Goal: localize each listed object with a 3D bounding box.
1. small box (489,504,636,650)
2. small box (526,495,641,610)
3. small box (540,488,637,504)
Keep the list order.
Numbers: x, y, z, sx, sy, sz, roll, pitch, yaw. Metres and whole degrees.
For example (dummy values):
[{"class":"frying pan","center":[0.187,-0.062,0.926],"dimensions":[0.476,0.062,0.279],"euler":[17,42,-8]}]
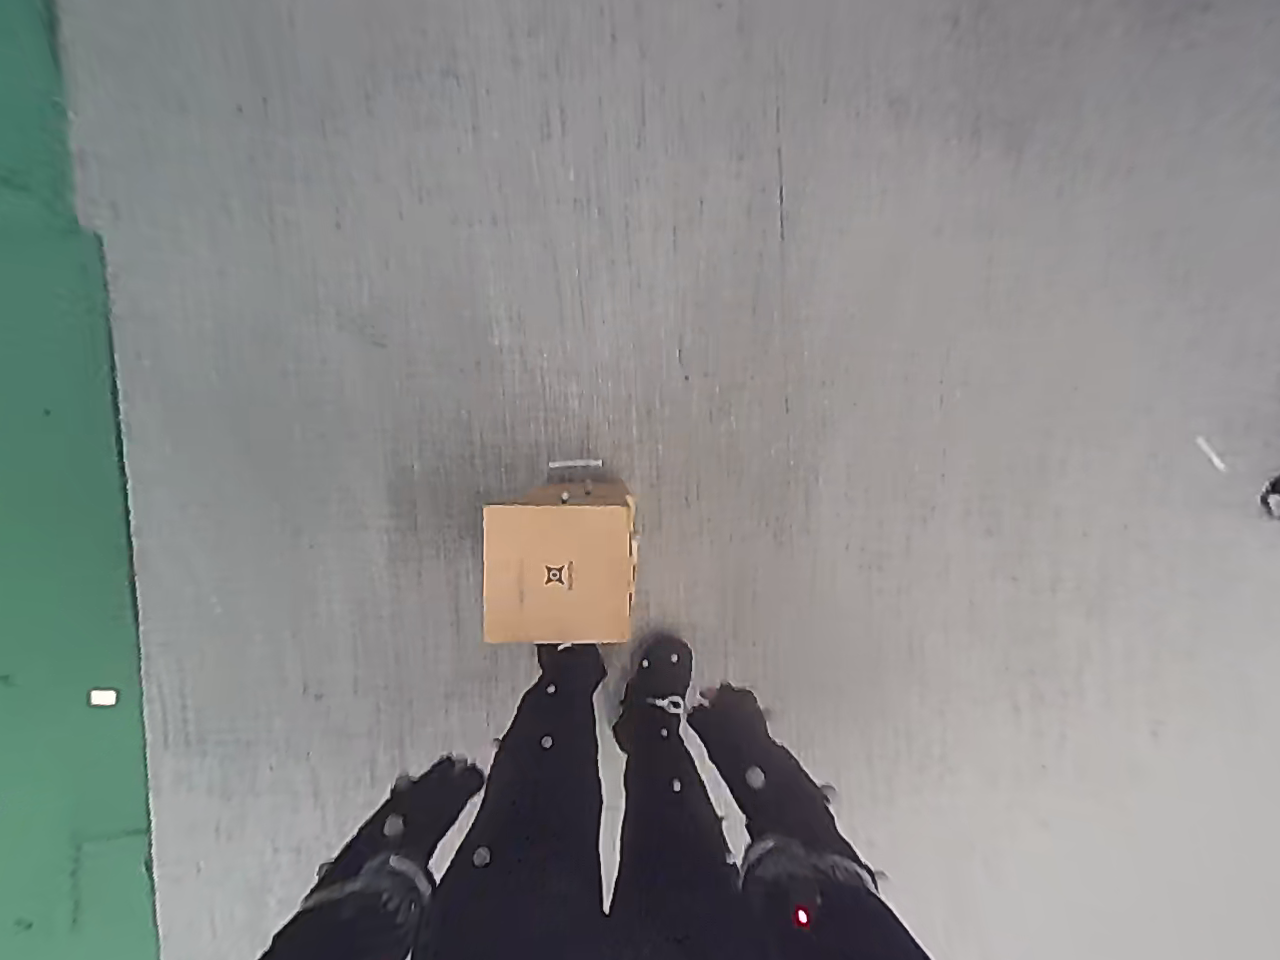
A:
[{"class":"small box","center":[-0.096,0.119,0.725],"dimensions":[0.179,0.176,0.168],"euler":[0,91,-1]},{"class":"small box","center":[-0.092,0.112,0.888],"dimensions":[0.179,0.176,0.168],"euler":[0,92,-3]},{"class":"small box","center":[-0.102,0.102,1.049],"dimensions":[0.179,0.176,0.168],"euler":[2,90,-3]}]
